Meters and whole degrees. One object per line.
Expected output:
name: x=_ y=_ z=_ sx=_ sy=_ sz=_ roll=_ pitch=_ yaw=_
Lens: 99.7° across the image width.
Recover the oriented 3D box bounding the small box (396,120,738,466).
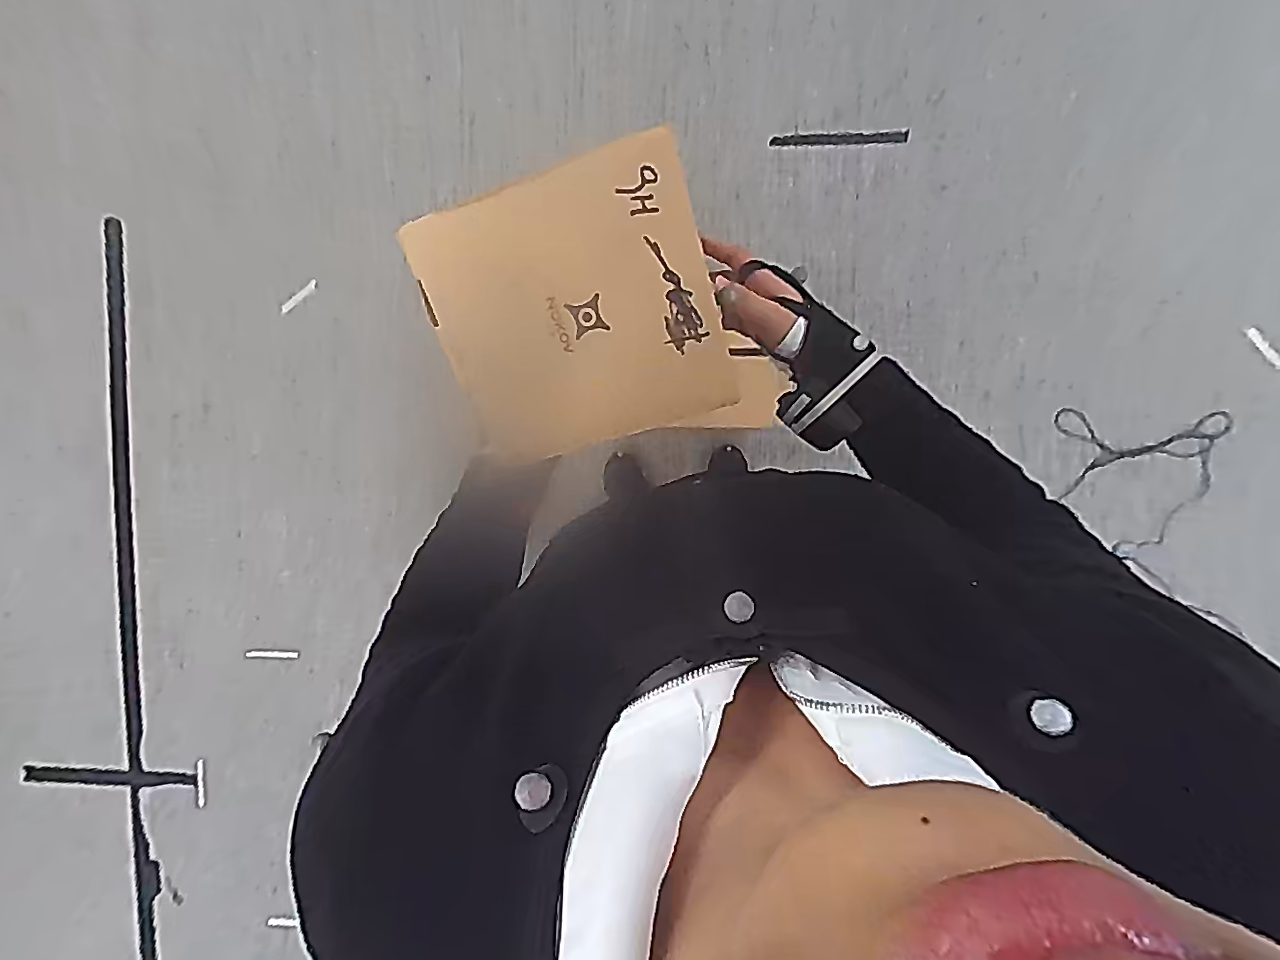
small box: x=-0.034 y=-0.132 z=0.403 sx=0.179 sy=0.176 sz=0.168 roll=-14 pitch=113 yaw=11
